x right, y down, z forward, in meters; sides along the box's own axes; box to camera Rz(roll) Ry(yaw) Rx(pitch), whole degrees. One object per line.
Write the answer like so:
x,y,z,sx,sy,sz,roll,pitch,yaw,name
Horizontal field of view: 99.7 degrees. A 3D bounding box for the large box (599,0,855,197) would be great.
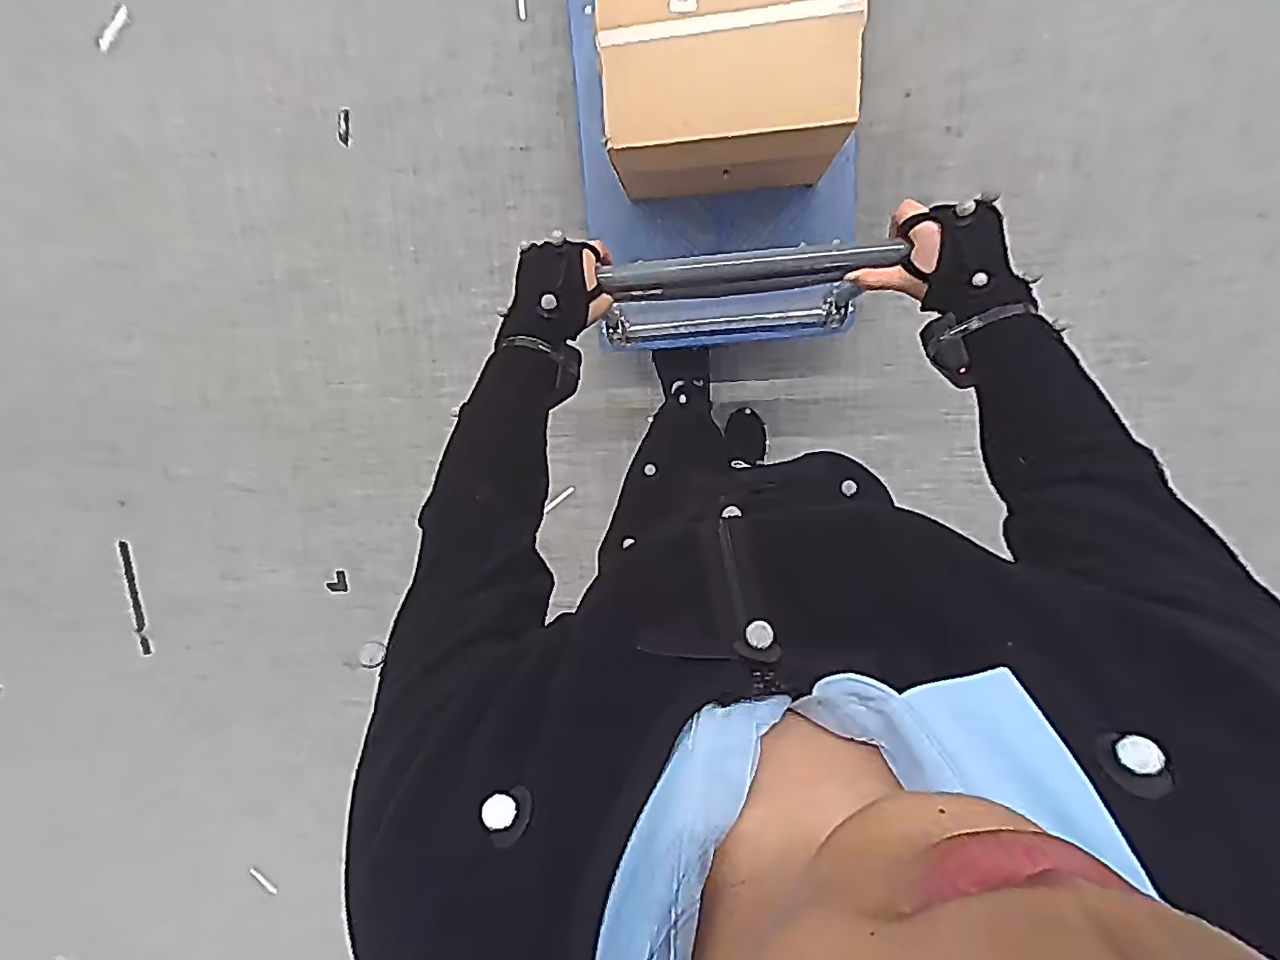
0.155,-0.750,1.001,0.408,0.320,0.320,-2,102,8,large box
